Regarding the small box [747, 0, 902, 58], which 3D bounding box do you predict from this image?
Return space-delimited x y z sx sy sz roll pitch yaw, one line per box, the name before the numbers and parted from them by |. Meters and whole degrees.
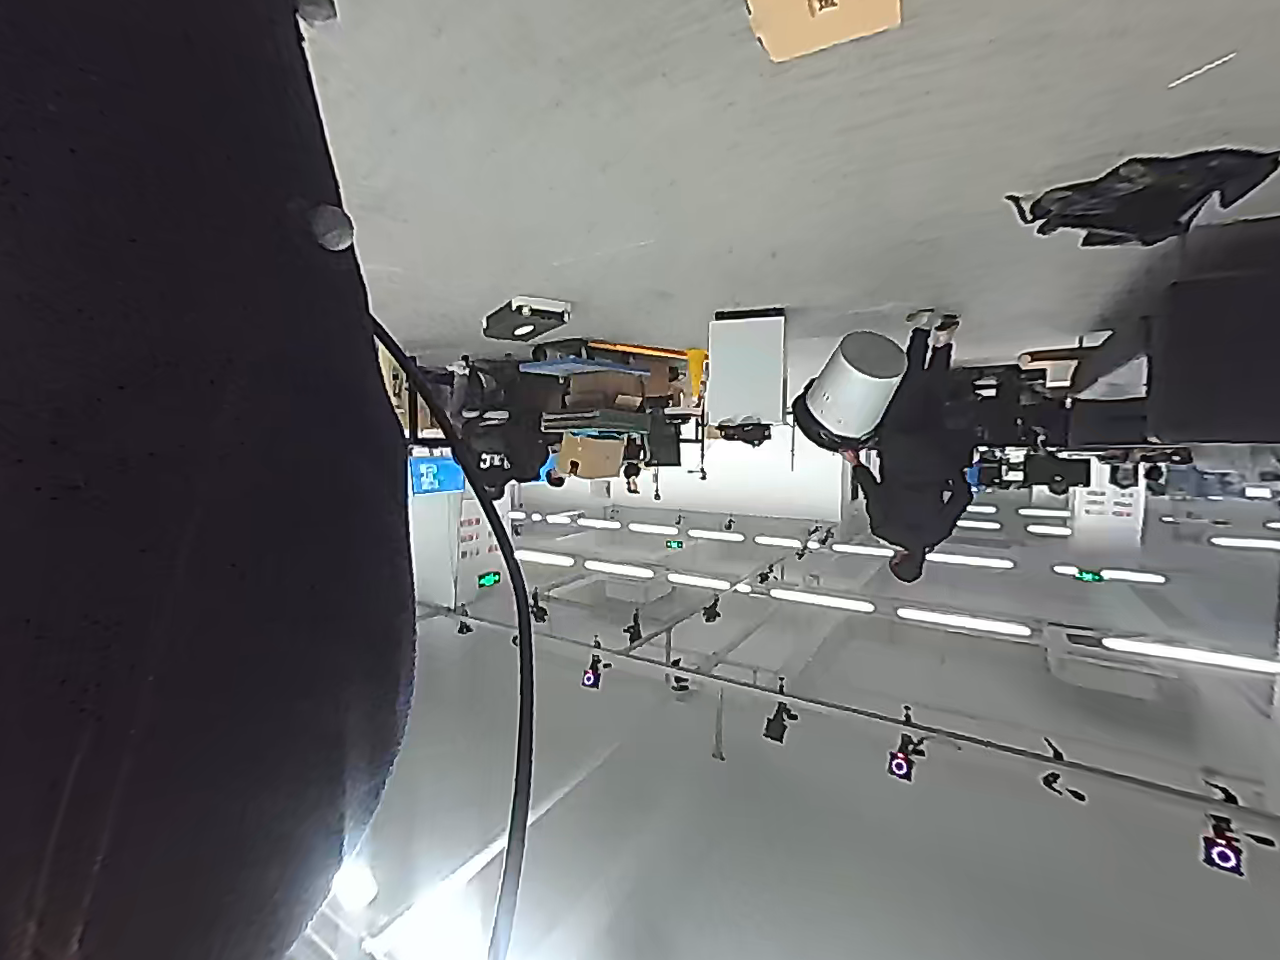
small box | 0.225 -0.676 0.657 0.179 0.176 0.168 1 -174 26
